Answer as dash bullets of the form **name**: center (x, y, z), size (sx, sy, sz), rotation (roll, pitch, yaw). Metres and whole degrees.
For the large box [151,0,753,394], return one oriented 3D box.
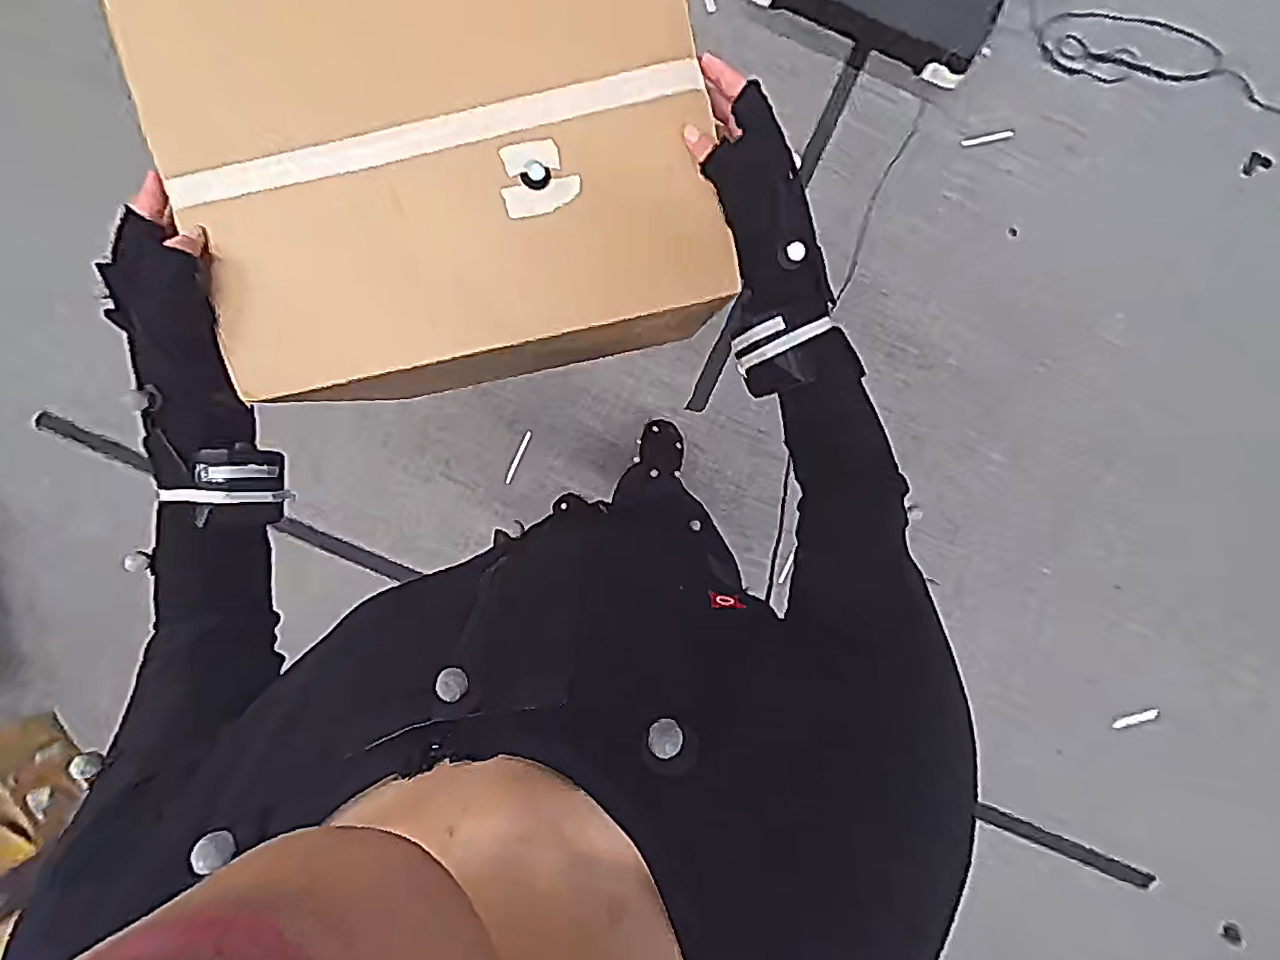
- **large box**: center (-0.139, -0.283, 0.556), size (0.408, 0.320, 0.320), rotation (-12, 99, 0)
